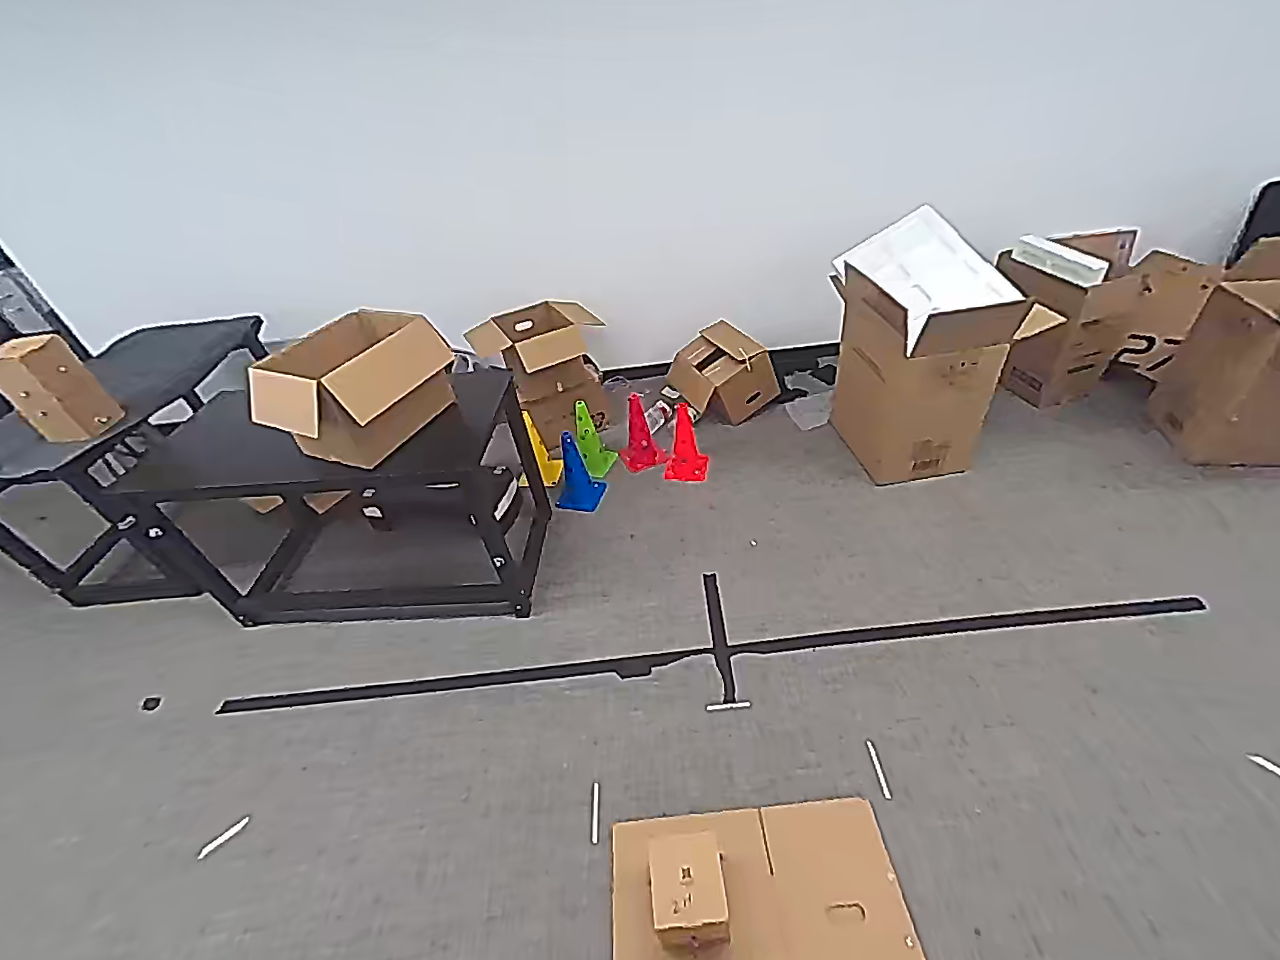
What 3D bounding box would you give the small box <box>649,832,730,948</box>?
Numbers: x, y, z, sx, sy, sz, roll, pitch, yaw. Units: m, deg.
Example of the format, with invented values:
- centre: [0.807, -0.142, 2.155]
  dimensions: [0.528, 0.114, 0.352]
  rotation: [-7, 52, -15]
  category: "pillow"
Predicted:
- centre: [0.114, 0.963, 1.270]
  dimensions: [0.168, 0.176, 0.179]
  rotation: [-8, 40, 2]
  category: "small box"
